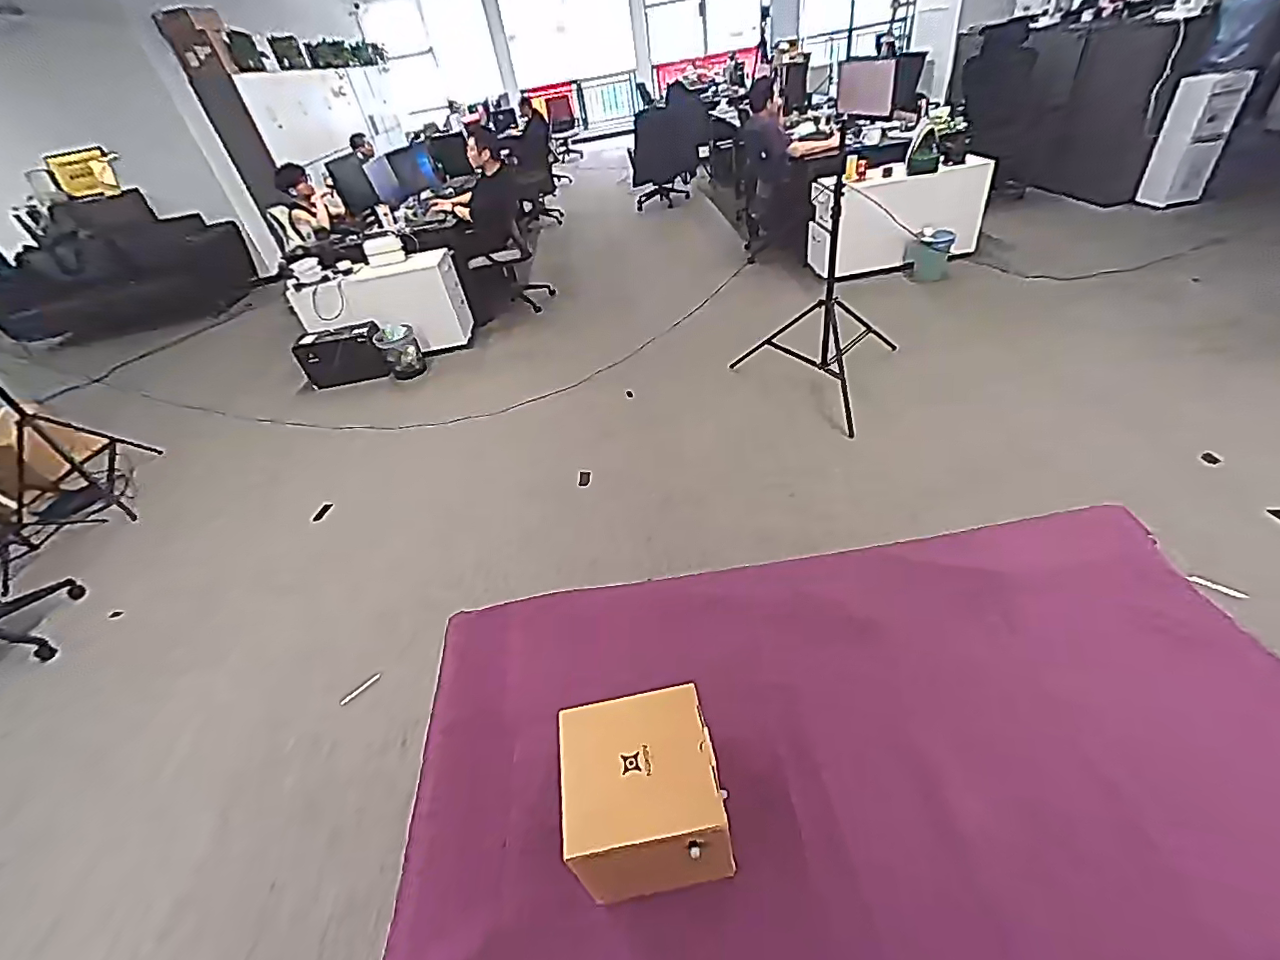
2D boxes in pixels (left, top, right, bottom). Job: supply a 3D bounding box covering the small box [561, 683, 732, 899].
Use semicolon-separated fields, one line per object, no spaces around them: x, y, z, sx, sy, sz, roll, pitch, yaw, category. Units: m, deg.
0.008;0.387;0.672;0.179;0.176;0.168;-12;38;-2;small box
